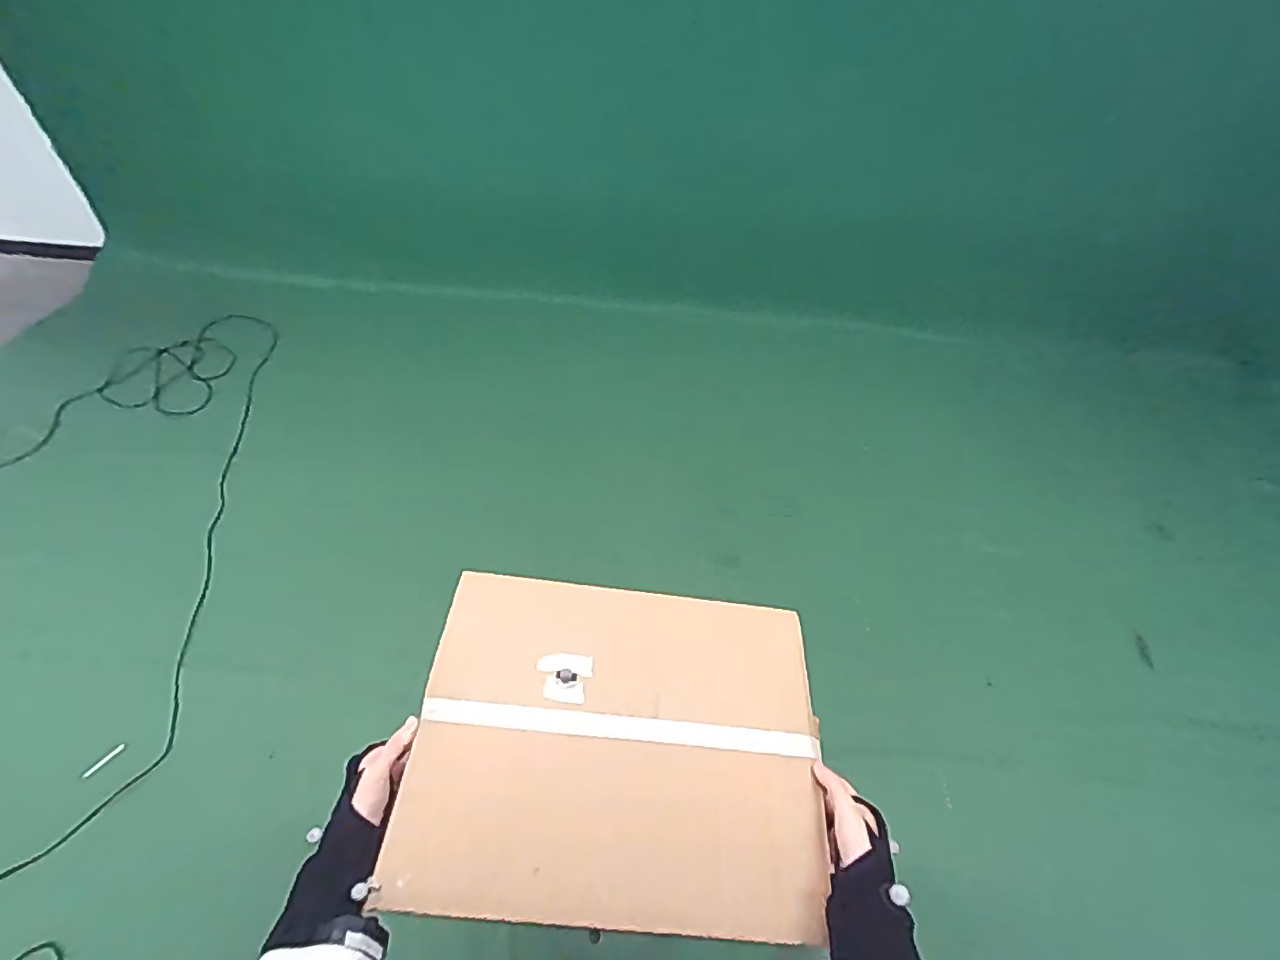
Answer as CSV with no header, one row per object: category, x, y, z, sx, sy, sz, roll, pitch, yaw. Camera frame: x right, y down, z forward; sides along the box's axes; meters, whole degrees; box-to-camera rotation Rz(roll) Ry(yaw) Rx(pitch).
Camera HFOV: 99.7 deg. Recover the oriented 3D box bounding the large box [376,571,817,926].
large box,-0.040,0.340,0.687,0.408,0.320,0.320,8,53,-3
